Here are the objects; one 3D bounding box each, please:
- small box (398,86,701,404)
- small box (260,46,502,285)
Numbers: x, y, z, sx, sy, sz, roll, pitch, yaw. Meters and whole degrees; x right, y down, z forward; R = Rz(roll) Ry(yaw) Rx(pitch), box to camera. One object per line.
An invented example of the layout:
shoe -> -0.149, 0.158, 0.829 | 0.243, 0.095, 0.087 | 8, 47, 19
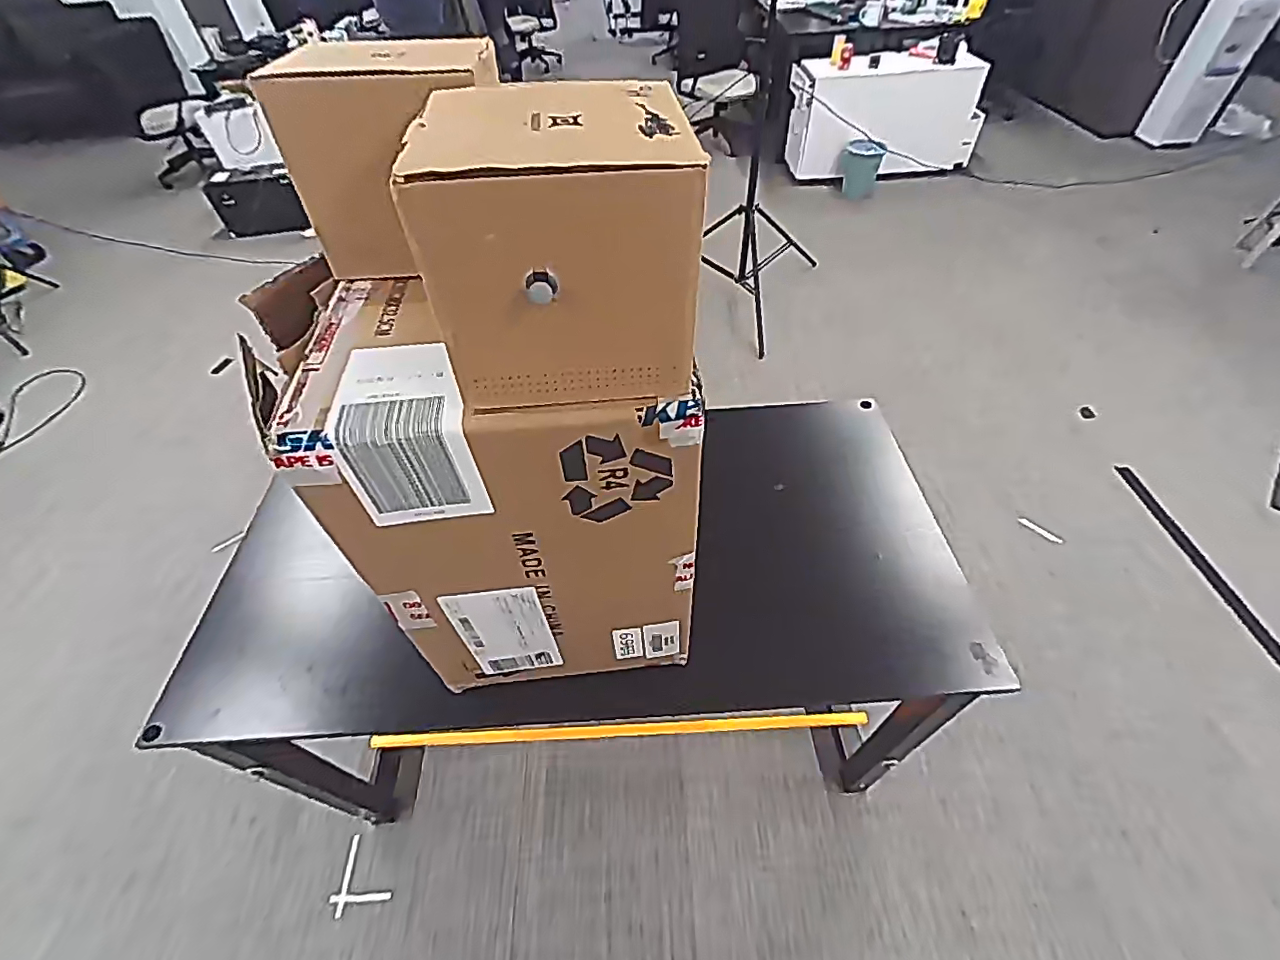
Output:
small box -> -0.054, -0.173, 0.415 | 0.179, 0.176, 0.168 | -6, 51, -3
small box -> -0.221, -0.314, 0.544 | 0.179, 0.176, 0.168 | -6, 46, -3
